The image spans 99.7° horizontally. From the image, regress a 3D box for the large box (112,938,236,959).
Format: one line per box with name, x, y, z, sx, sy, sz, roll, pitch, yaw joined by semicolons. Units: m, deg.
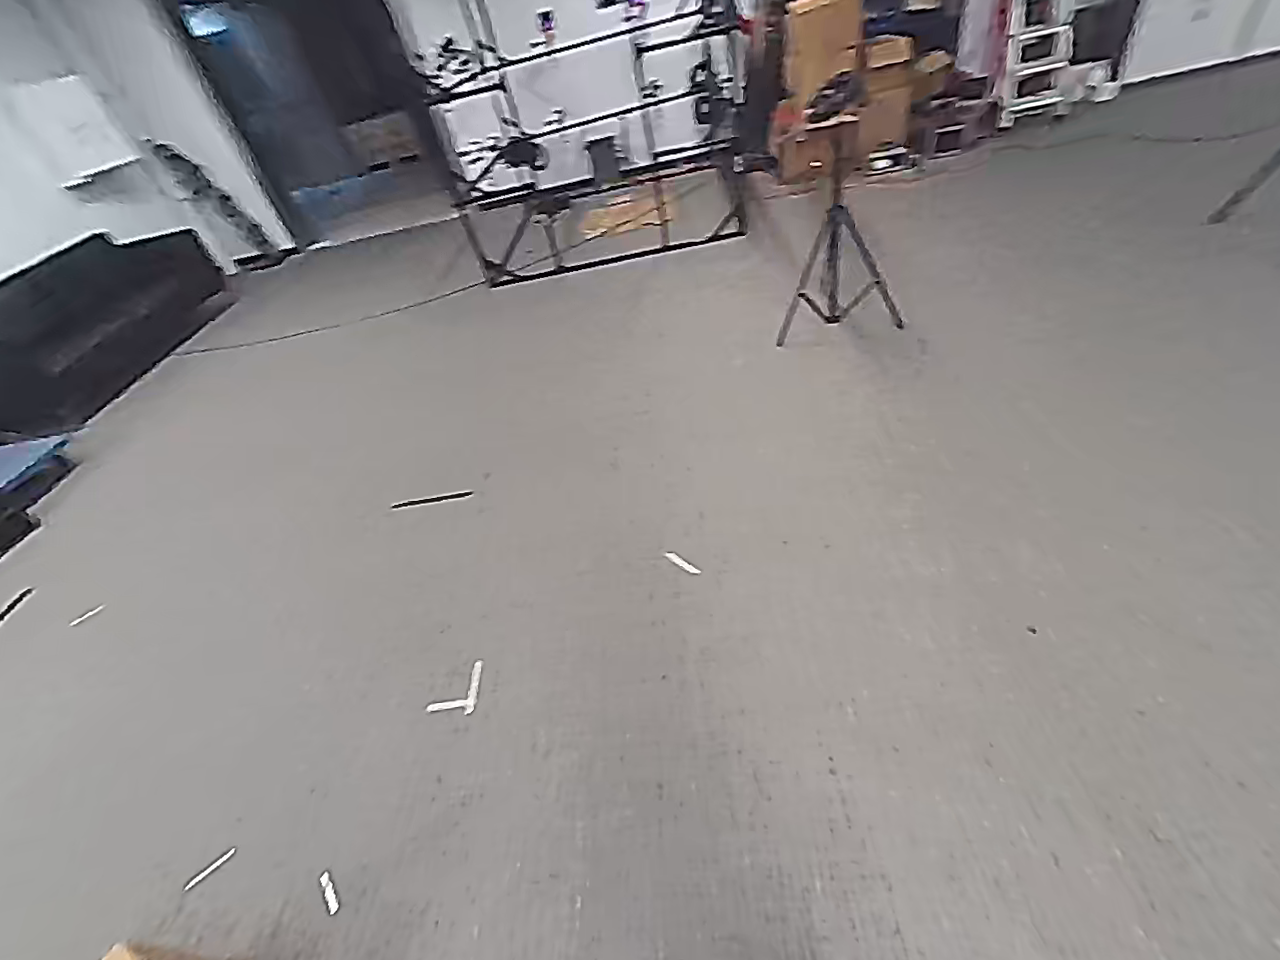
large box;-0.966;1.208;1.038;0.320;0.320;0.408;9;47;25
